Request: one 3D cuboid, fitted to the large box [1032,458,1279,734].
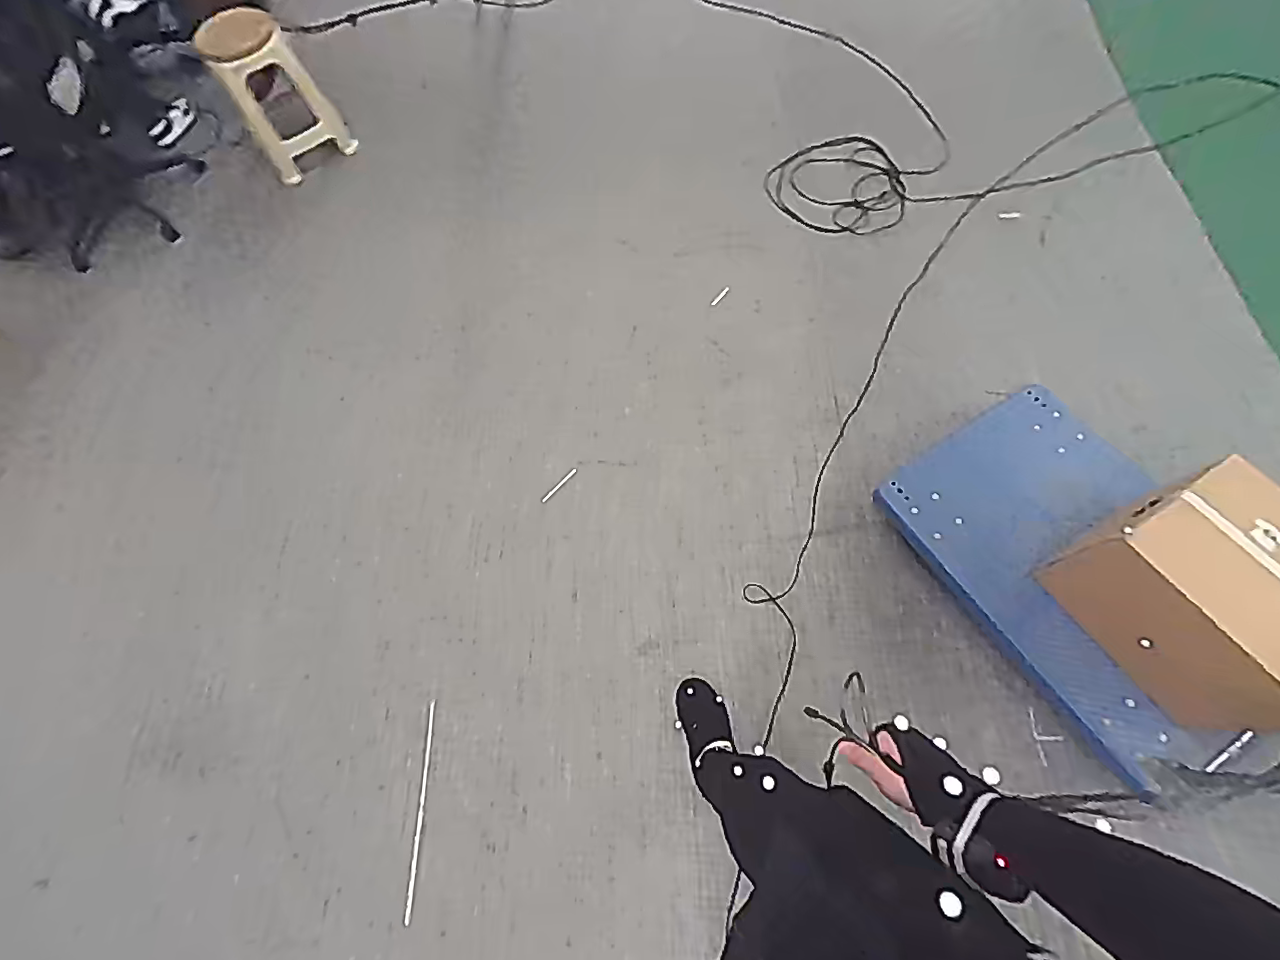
[{"bbox_3d":[1.139,0.241,1.092,0.320,0.320,0.408,-31,67,-8],"label":"large box"}]
